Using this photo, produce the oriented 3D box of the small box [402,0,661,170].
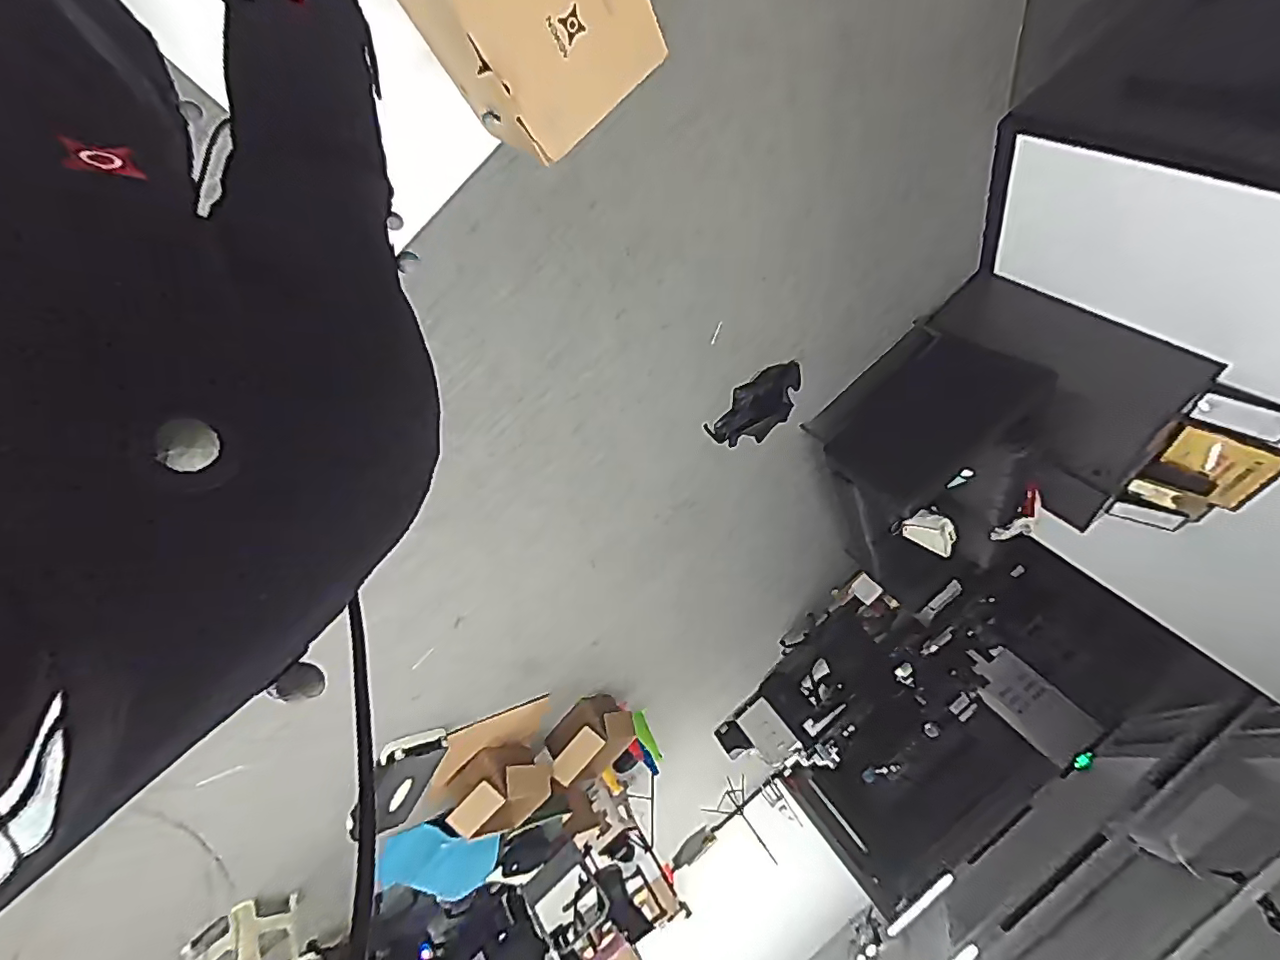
[{"bbox_3d":[-0.115,-0.464,0.550,0.179,0.176,0.168,-44,146,1],"label":"small box"}]
